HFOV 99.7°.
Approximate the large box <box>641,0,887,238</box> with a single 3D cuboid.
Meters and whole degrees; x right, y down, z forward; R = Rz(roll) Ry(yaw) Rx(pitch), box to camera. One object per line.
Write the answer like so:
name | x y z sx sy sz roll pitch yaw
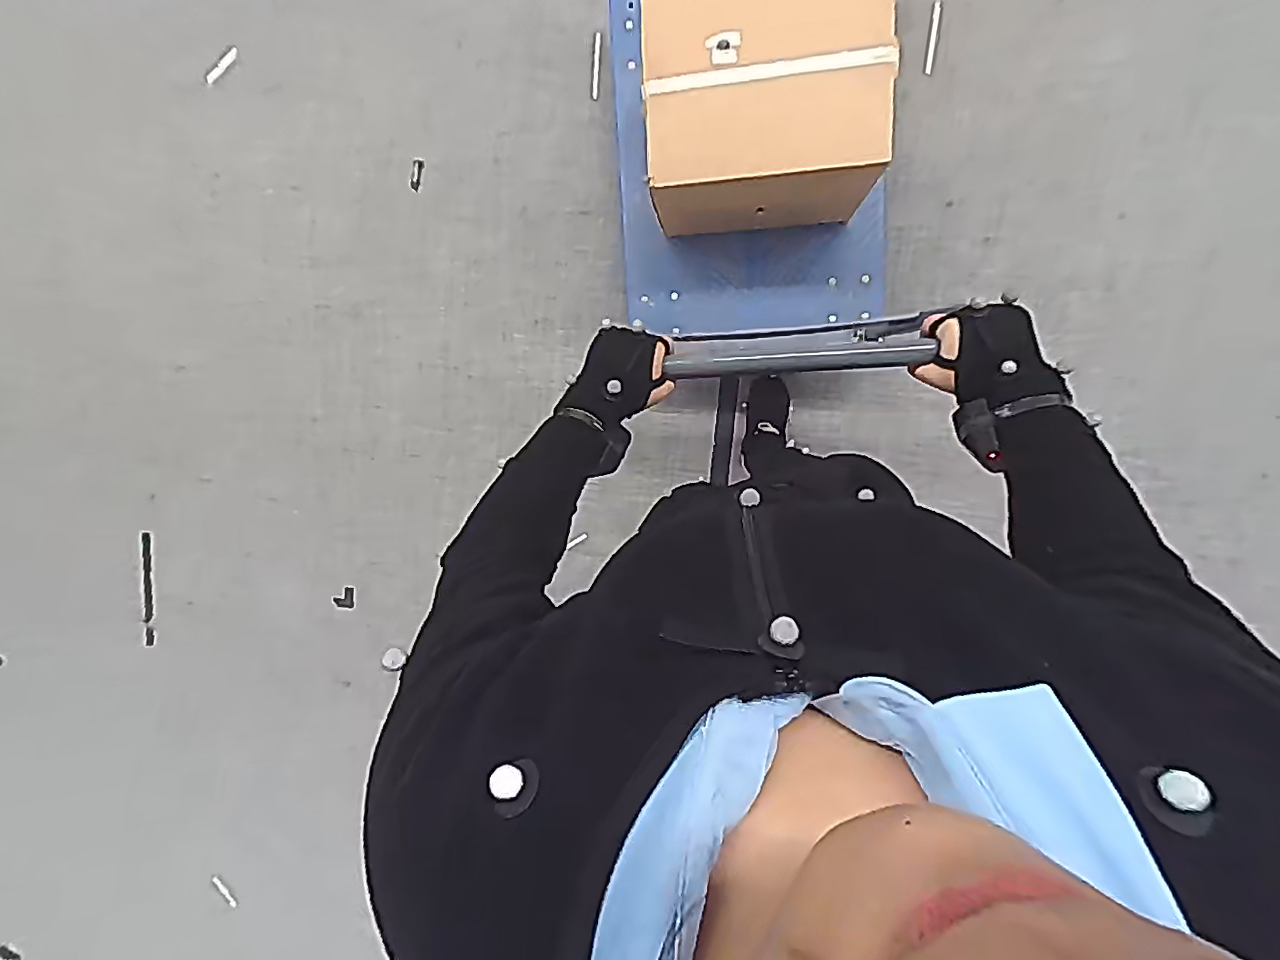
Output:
large box | 0.231 -0.691 1.054 0.408 0.320 0.320 -2 97 10
